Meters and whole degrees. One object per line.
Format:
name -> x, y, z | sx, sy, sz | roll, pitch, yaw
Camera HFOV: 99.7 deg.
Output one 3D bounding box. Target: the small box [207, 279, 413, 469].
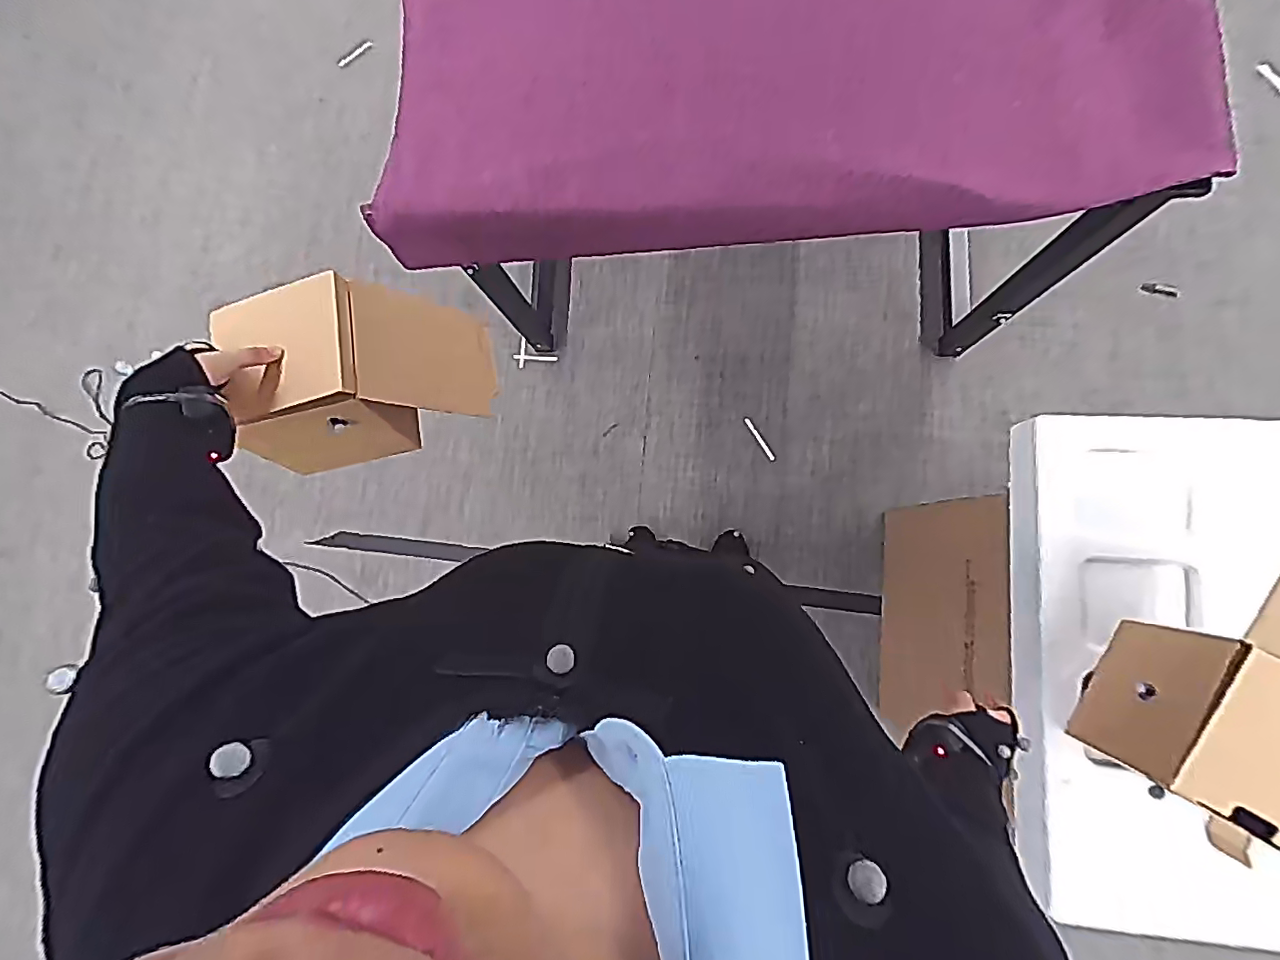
small box -> -0.415, -0.128, 0.709 | 0.179, 0.176, 0.168 | -13, 72, 0
